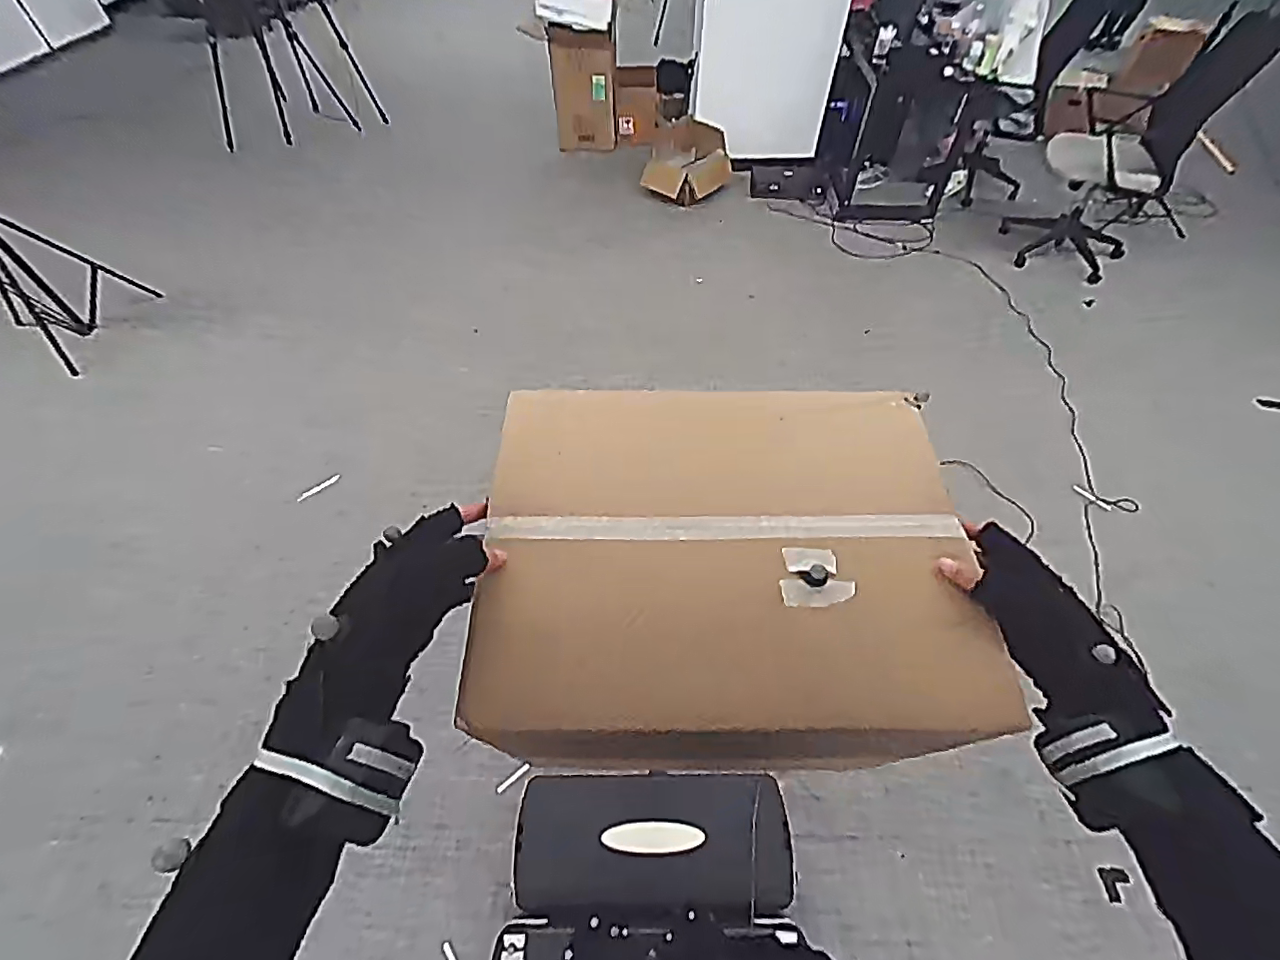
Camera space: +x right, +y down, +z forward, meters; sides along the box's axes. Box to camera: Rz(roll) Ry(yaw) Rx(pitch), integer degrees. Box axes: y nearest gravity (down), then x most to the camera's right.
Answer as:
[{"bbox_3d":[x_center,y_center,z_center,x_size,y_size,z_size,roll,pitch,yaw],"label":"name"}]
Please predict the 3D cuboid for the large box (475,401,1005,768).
[{"bbox_3d":[0.070,0.128,0.601,0.408,0.320,0.320,0,58,-1],"label":"large box"}]

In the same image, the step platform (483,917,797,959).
[{"bbox_3d":[0.001,1.100,1.127,0.684,0.204,0.286,-1,52,1],"label":"step platform"}]
